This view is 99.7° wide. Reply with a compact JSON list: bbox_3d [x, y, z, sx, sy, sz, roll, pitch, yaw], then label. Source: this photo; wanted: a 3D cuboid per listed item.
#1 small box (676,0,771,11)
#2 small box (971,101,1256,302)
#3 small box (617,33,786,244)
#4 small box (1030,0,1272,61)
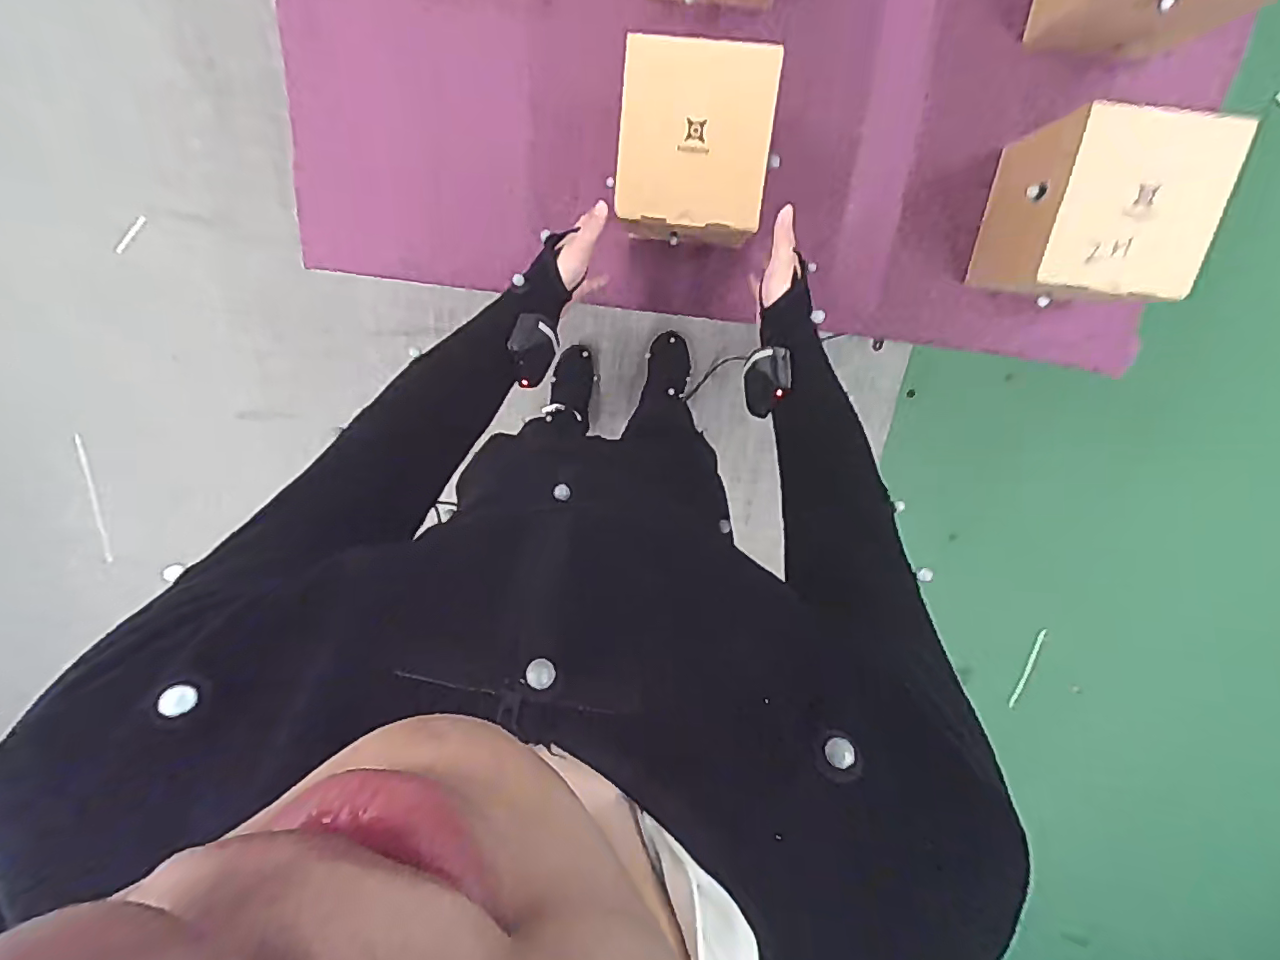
[{"bbox_3d":[0.086,-0.650,0.572,0.168,0.176,0.179,8,110,2],"label":"small box"},{"bbox_3d":[0.537,-0.316,0.649,0.168,0.176,0.179,9,109,3],"label":"small box"},{"bbox_3d":[0.066,-0.398,0.661,0.168,0.176,0.179,6,110,1],"label":"small box"},{"bbox_3d":[0.554,-0.579,0.560,0.168,0.176,0.179,7,109,3],"label":"small box"}]
